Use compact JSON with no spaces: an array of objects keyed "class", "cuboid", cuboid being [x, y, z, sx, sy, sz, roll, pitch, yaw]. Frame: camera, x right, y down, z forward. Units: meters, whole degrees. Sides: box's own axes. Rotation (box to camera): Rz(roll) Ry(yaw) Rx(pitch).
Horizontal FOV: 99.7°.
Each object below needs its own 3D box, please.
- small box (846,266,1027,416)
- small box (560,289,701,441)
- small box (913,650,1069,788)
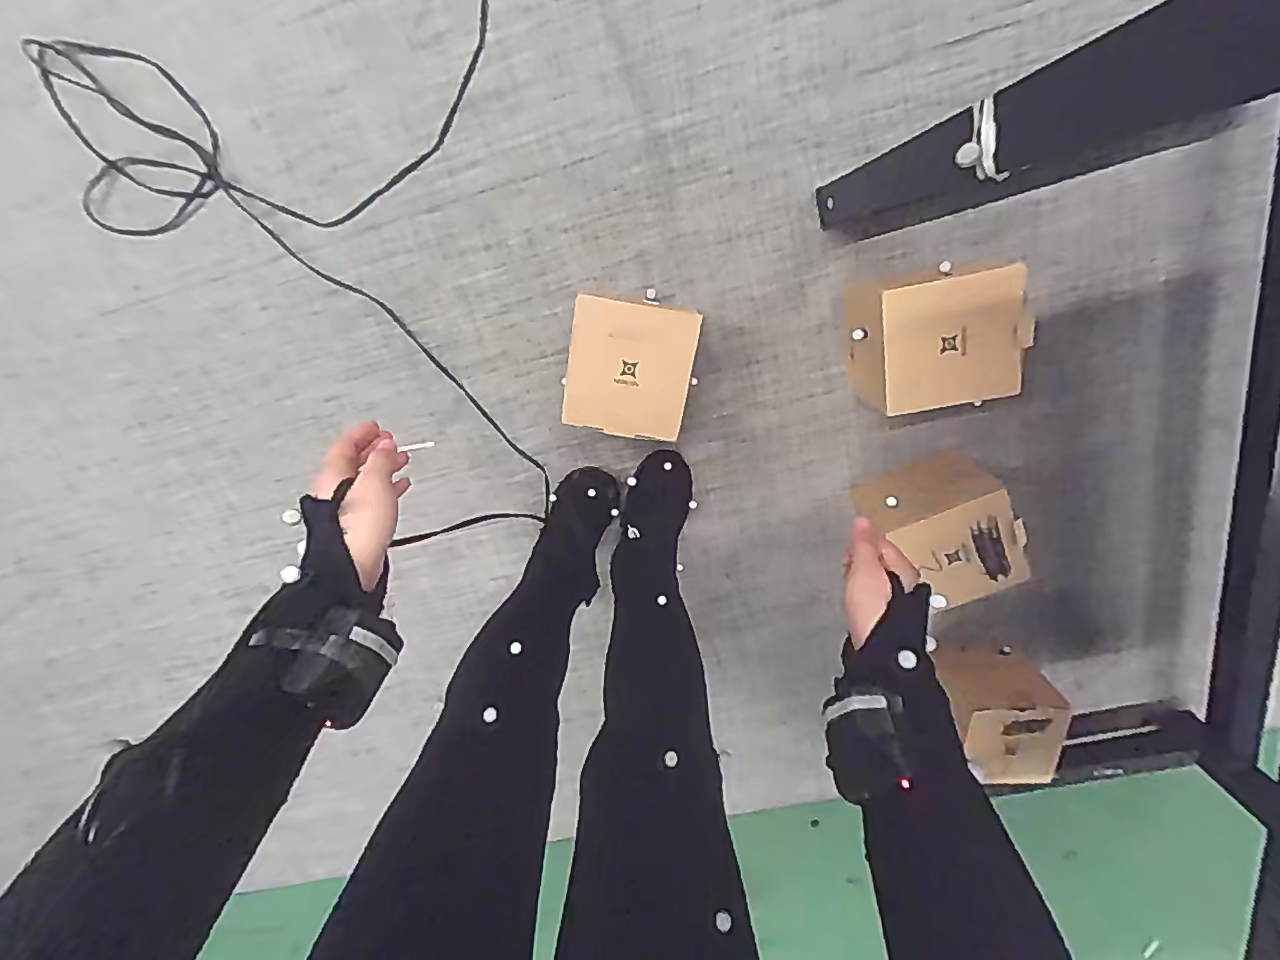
[{"class":"small box","cuboid":[0.401,-0.198,0.764,0.179,0.176,0.168,-9,110,5]},{"class":"small box","cuboid":[-0.014,-0.174,0.790,0.168,0.176,0.179,9,110,-3]},{"class":"small box","cuboid":[0.627,0.431,0.993,0.168,0.176,0.179,-1,113,3]}]
